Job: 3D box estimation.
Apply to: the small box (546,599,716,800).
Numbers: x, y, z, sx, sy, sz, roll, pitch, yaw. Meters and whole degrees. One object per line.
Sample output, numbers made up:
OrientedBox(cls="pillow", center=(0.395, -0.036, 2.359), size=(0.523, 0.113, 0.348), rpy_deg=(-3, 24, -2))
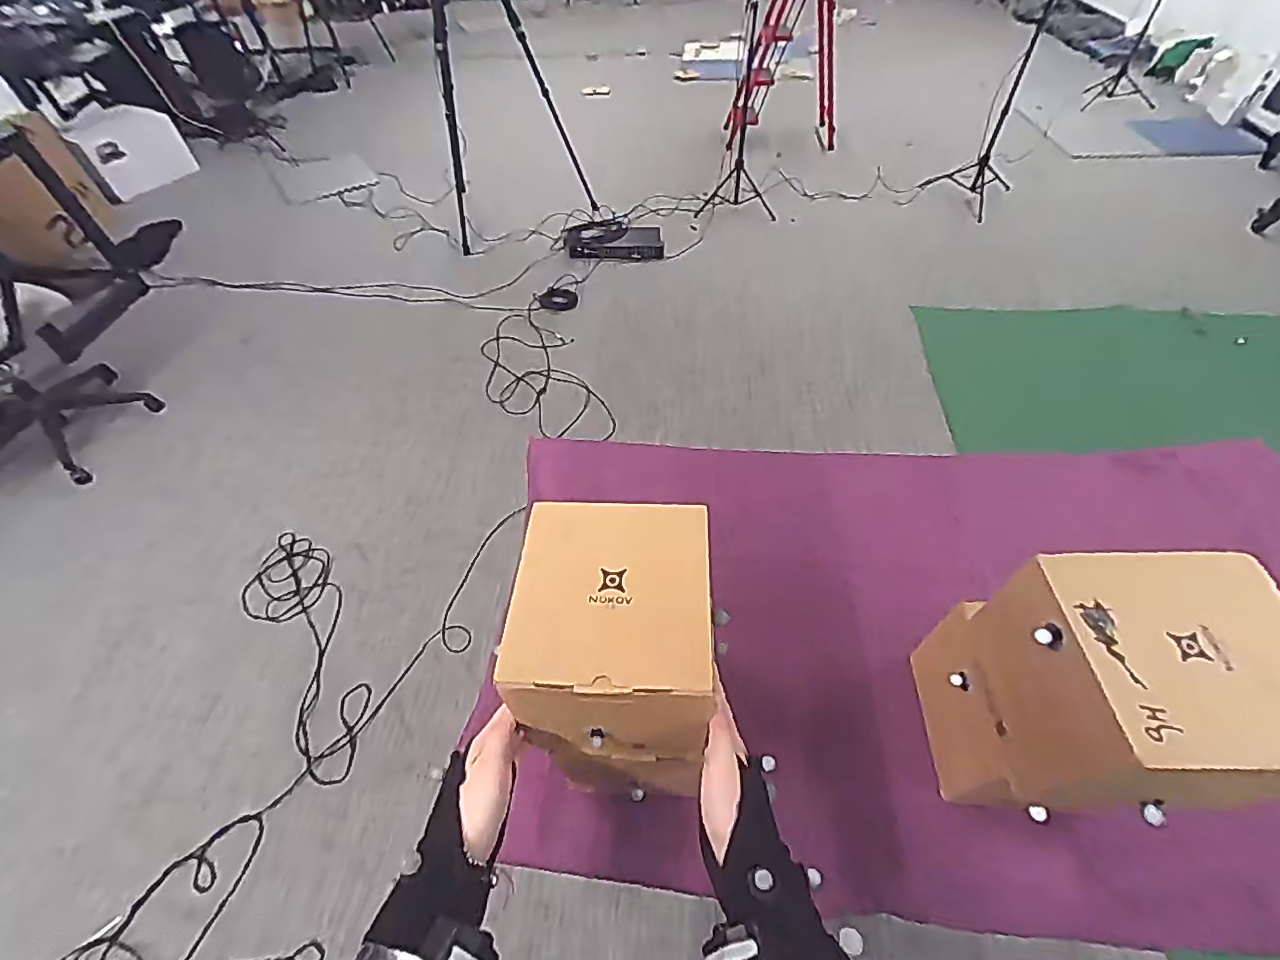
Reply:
OrientedBox(cls="small box", center=(-0.003, 0.248, 0.624), size=(0.168, 0.176, 0.179), rpy_deg=(1, 49, 4))

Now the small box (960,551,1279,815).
OrientedBox(cls="small box", center=(0.416, 0.175, 0.457), size=(0.179, 0.176, 0.168), rpy_deg=(0, 51, 3))

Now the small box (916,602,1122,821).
OrientedBox(cls="small box", center=(0.432, 0.258, 0.600), size=(0.168, 0.176, 0.179), rpy_deg=(2, 51, 5))

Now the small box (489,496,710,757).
OrientedBox(cls="small box", center=(-0.025, 0.137, 0.506), size=(0.168, 0.176, 0.179), rpy_deg=(2, 49, 3))
